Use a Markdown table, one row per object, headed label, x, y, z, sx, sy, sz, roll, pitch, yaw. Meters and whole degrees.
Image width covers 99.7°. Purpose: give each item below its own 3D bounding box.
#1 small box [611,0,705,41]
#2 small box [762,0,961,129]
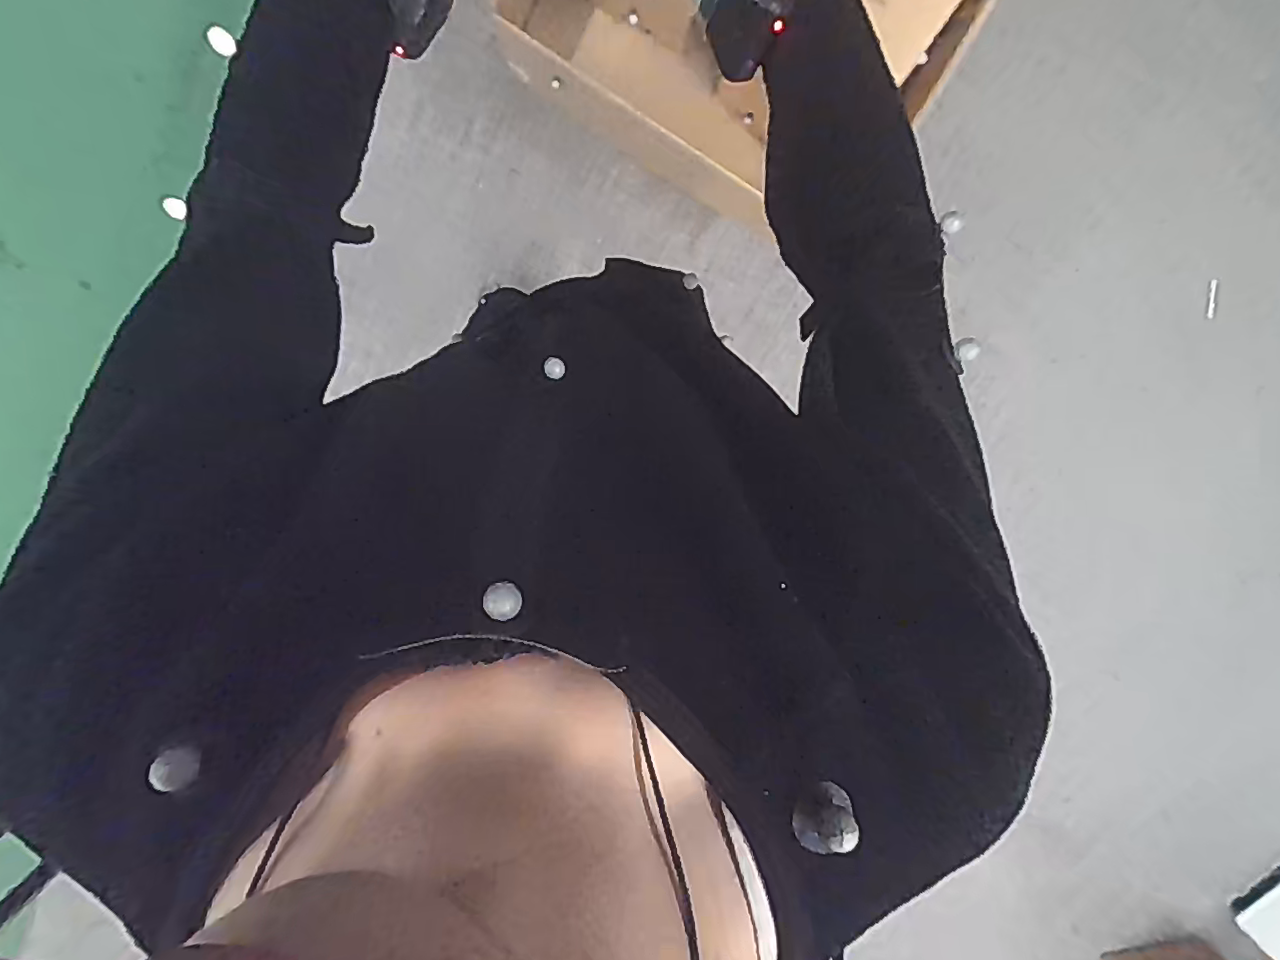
| label | x | y | z | sx | sy | sz | roll | pitch | yaw |
| --- | --- | --- | --- | --- | --- | --- | --- | --- | --- |
| small box | 0.039 | -0.777 | 0.751 | 0.168 | 0.176 | 0.179 | 25 | 106 | -9 |
| small box | 0.267 | -0.572 | 0.655 | 0.168 | 0.176 | 0.179 | 34 | 105 | -12 |
